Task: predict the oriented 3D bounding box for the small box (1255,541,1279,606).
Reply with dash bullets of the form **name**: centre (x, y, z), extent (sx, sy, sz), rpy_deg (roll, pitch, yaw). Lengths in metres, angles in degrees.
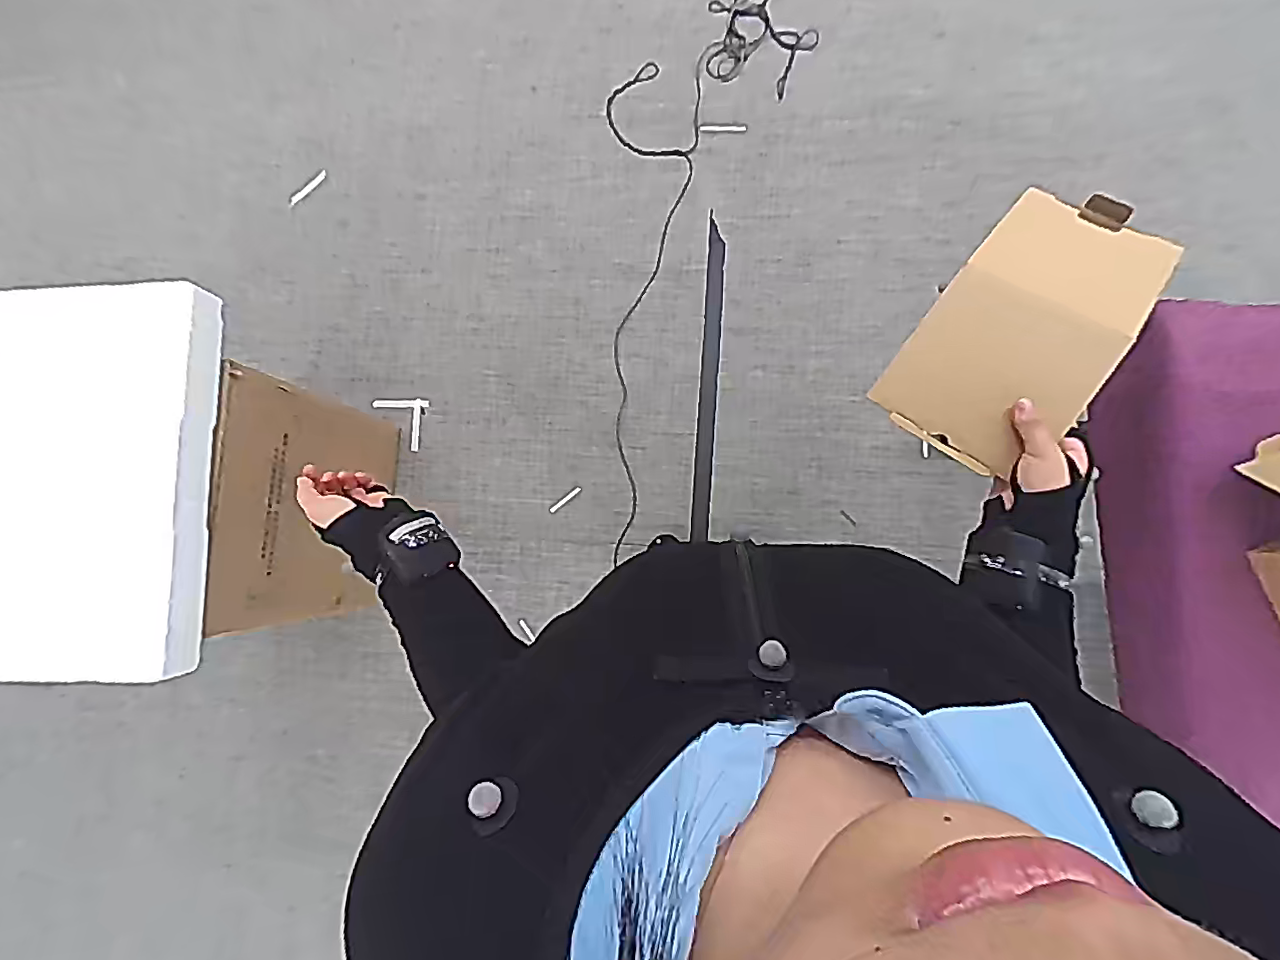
- **small box**: centre (0.907, 0.137, 0.629), extent (0.168, 0.176, 0.179), rpy_deg (-20, 83, 3)
